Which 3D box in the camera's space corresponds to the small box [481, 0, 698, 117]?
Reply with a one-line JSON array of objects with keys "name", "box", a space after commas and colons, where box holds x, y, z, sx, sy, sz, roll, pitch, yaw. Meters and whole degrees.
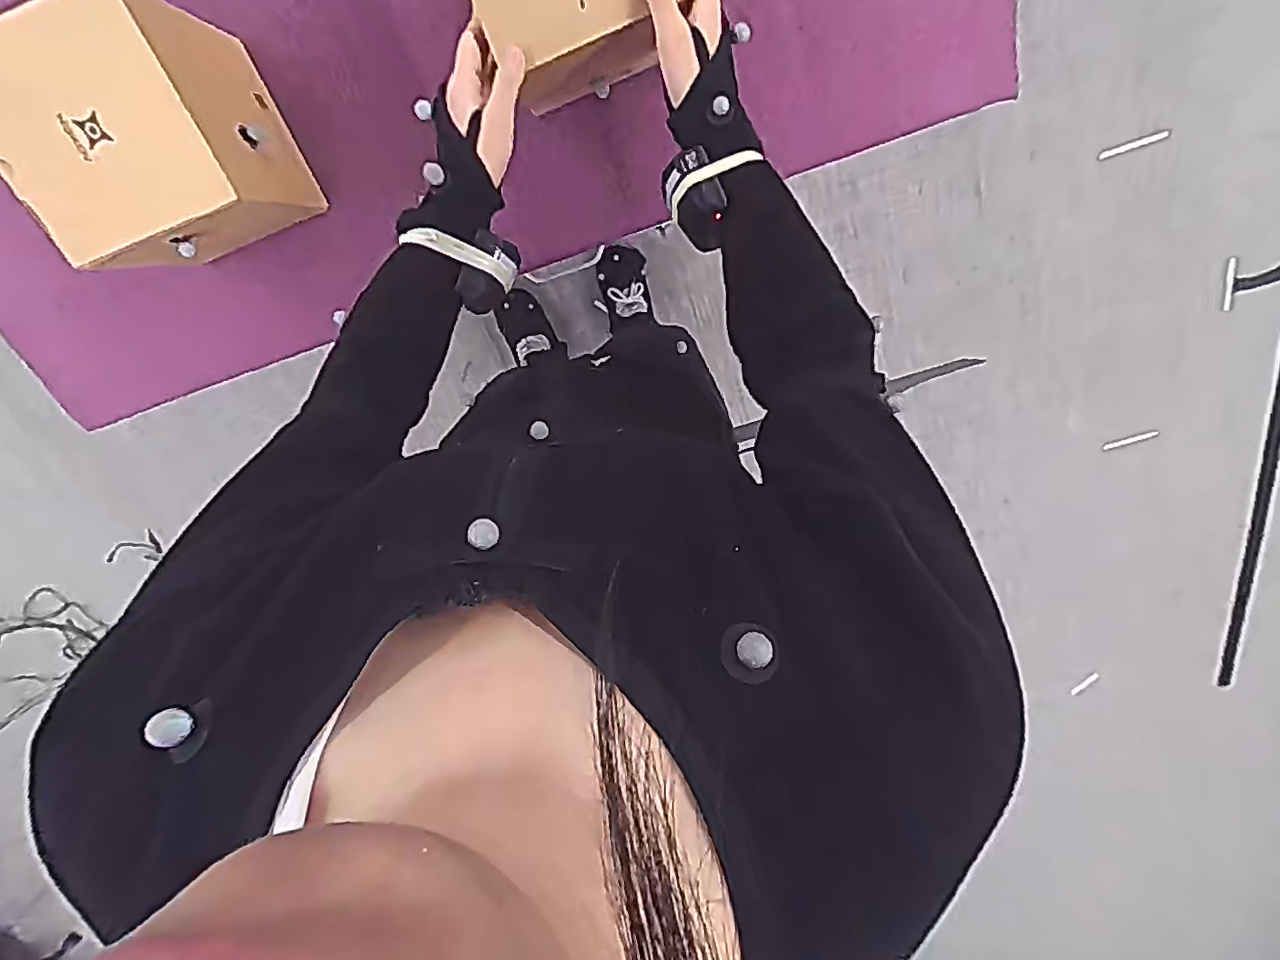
[{"name": "small box", "box": [-0.060, -0.455, 0.466, 0.168, 0.176, 0.179, -20, 112, 8]}]

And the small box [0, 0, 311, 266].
[{"name": "small box", "box": [-0.457, -0.322, 0.517, 0.179, 0.176, 0.168, -18, 115, 7]}]
